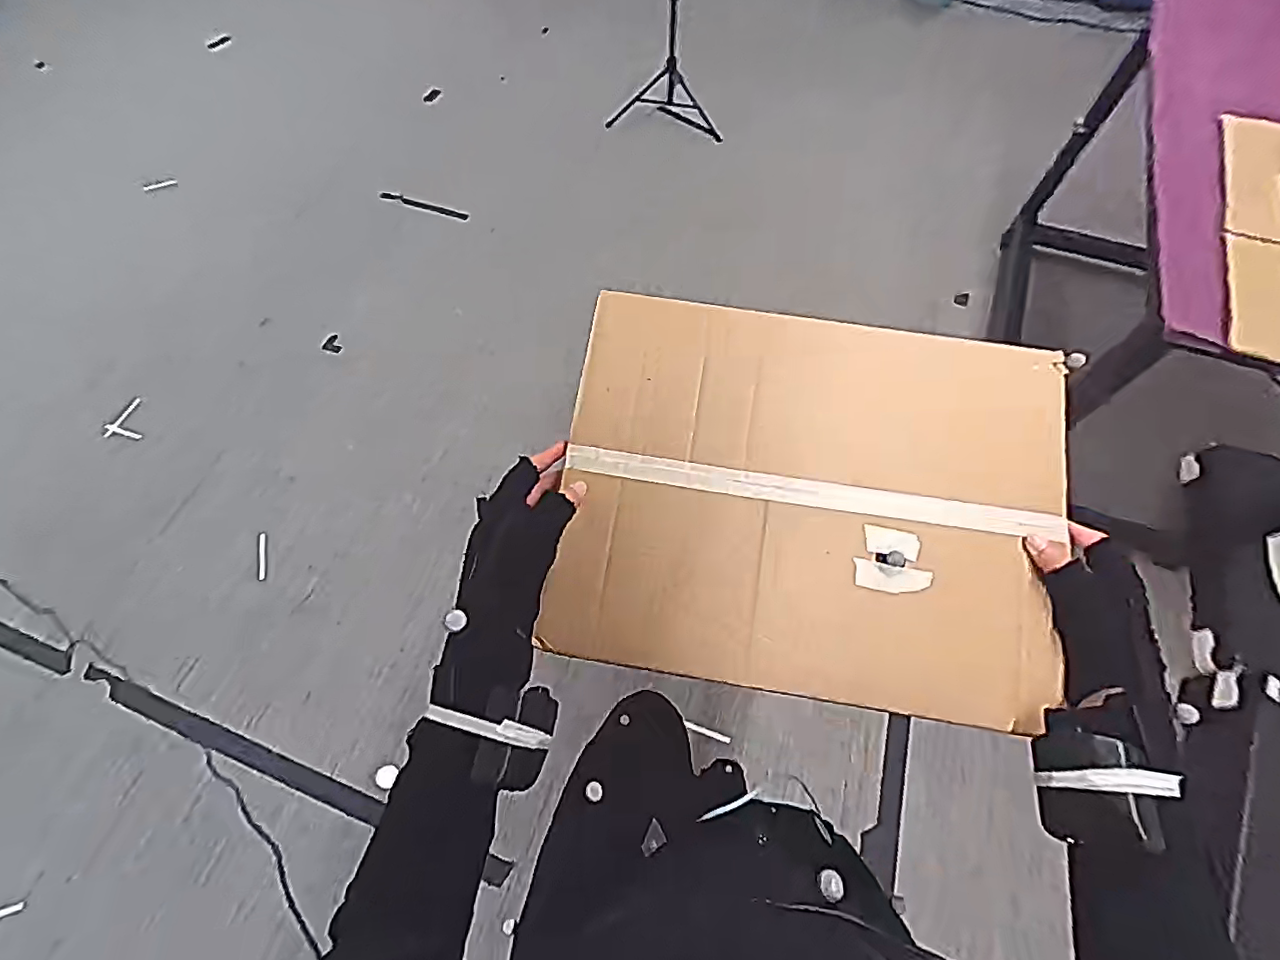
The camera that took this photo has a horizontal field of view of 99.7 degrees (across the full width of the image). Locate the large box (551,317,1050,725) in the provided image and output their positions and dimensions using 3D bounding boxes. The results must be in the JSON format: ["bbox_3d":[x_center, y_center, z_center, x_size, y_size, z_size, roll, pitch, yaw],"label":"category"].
[{"bbox_3d":[0.144,0.052,0.605,0.408,0.320,0.320,8,78,3],"label":"large box"}]
